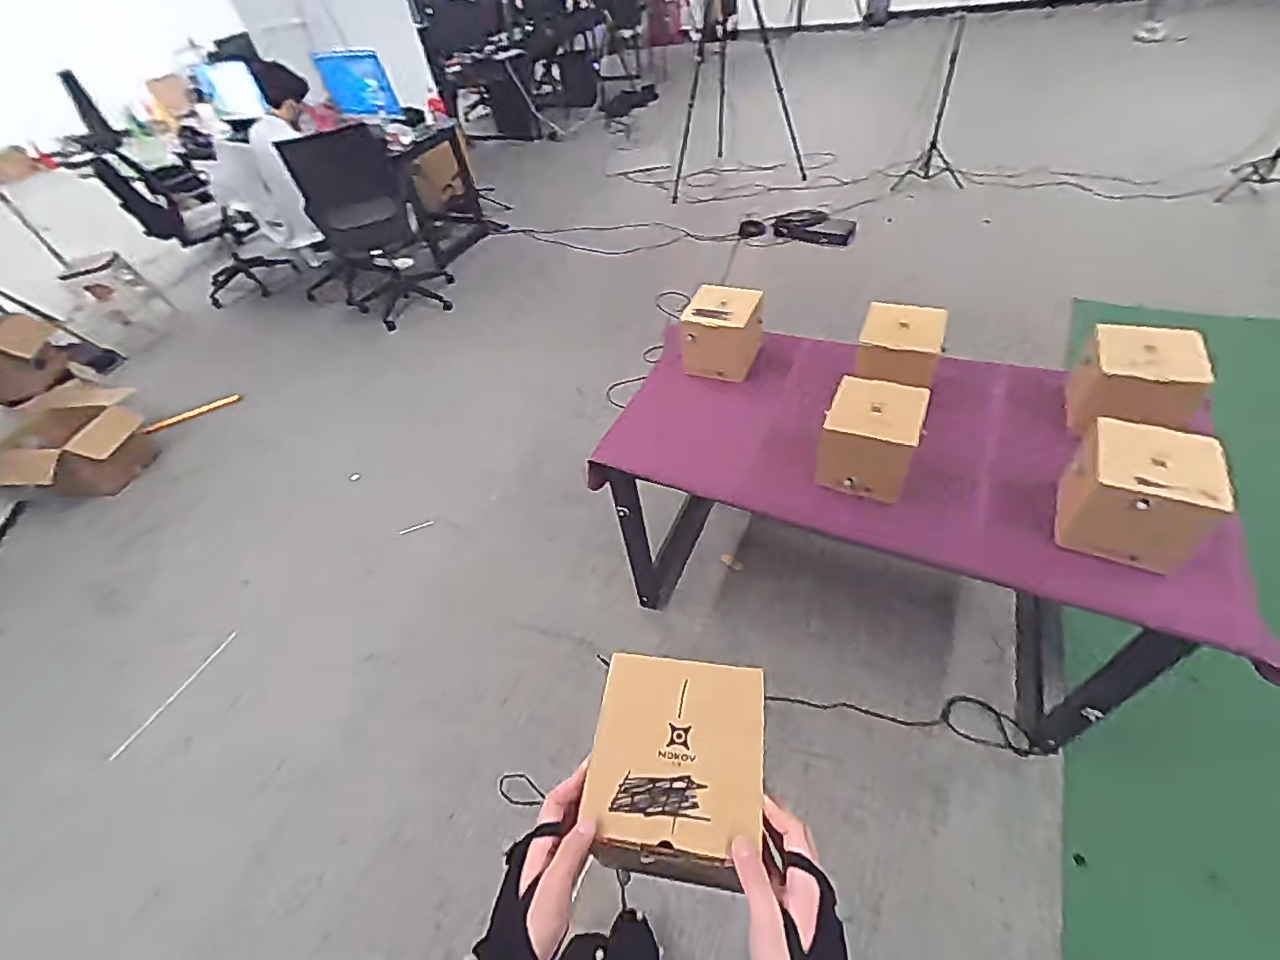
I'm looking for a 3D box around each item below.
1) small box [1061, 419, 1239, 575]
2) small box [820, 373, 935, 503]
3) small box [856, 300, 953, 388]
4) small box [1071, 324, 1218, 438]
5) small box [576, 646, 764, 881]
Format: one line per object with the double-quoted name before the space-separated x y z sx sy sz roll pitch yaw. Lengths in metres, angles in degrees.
"small box" 0.851 0.028 0.923 0.168 0.176 0.179 18 50 25
"small box" 0.473 -0.085 1.093 0.168 0.176 0.179 17 52 24
"small box" 0.607 -0.291 1.261 0.168 0.176 0.179 15 53 21
"small box" 1.004 -0.190 1.096 0.168 0.176 0.179 14 52 25
"small box" 0.043 0.303 0.577 0.168 0.176 0.179 3 47 10
